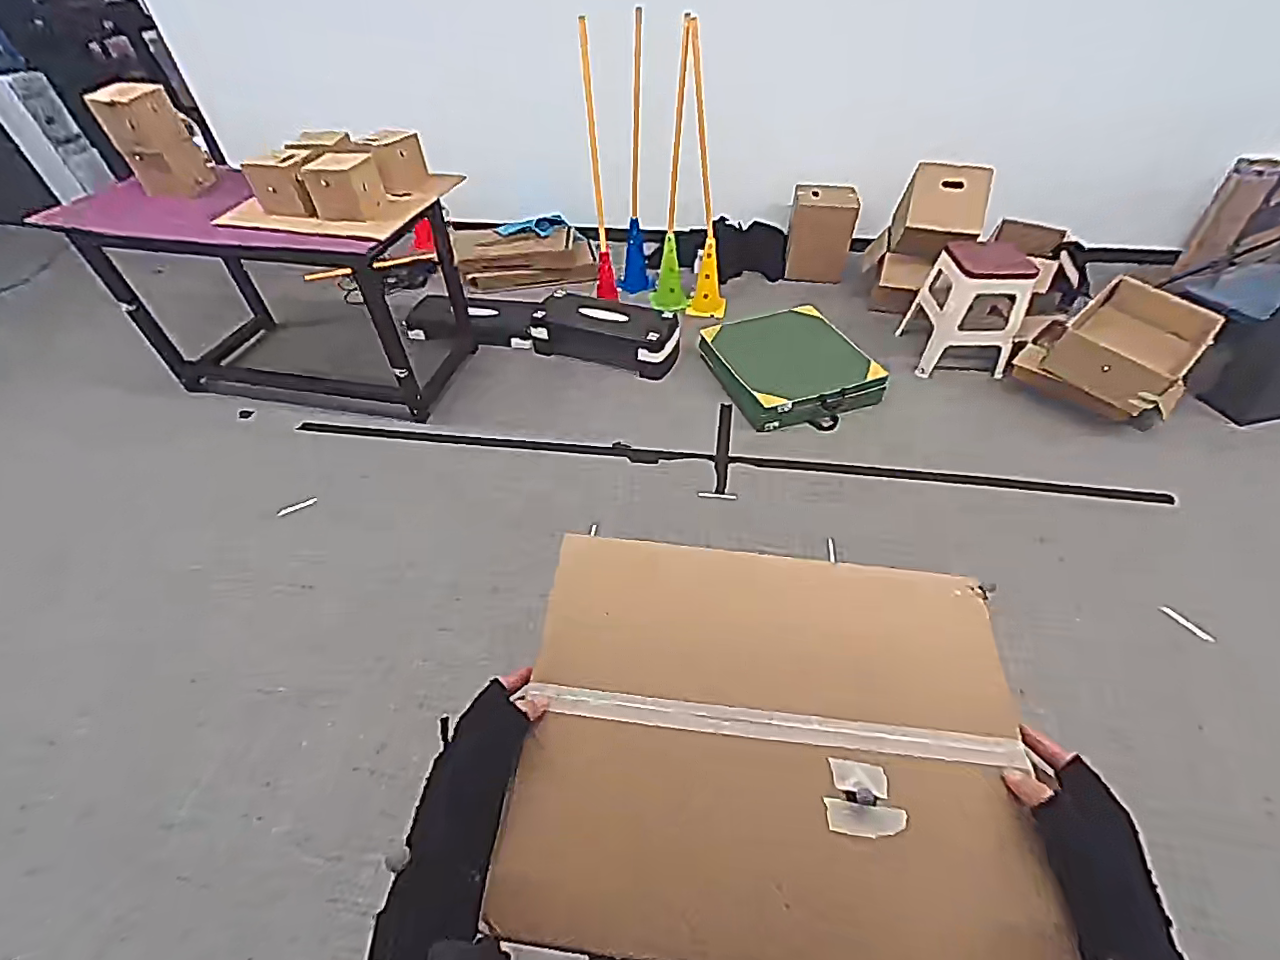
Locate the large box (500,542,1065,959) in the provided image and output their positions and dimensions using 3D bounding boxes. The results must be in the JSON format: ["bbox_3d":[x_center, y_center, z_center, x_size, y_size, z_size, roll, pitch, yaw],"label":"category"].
[{"bbox_3d":[0.104,0.287,0.580,0.408,0.320,0.320,5,56,2],"label":"large box"}]
